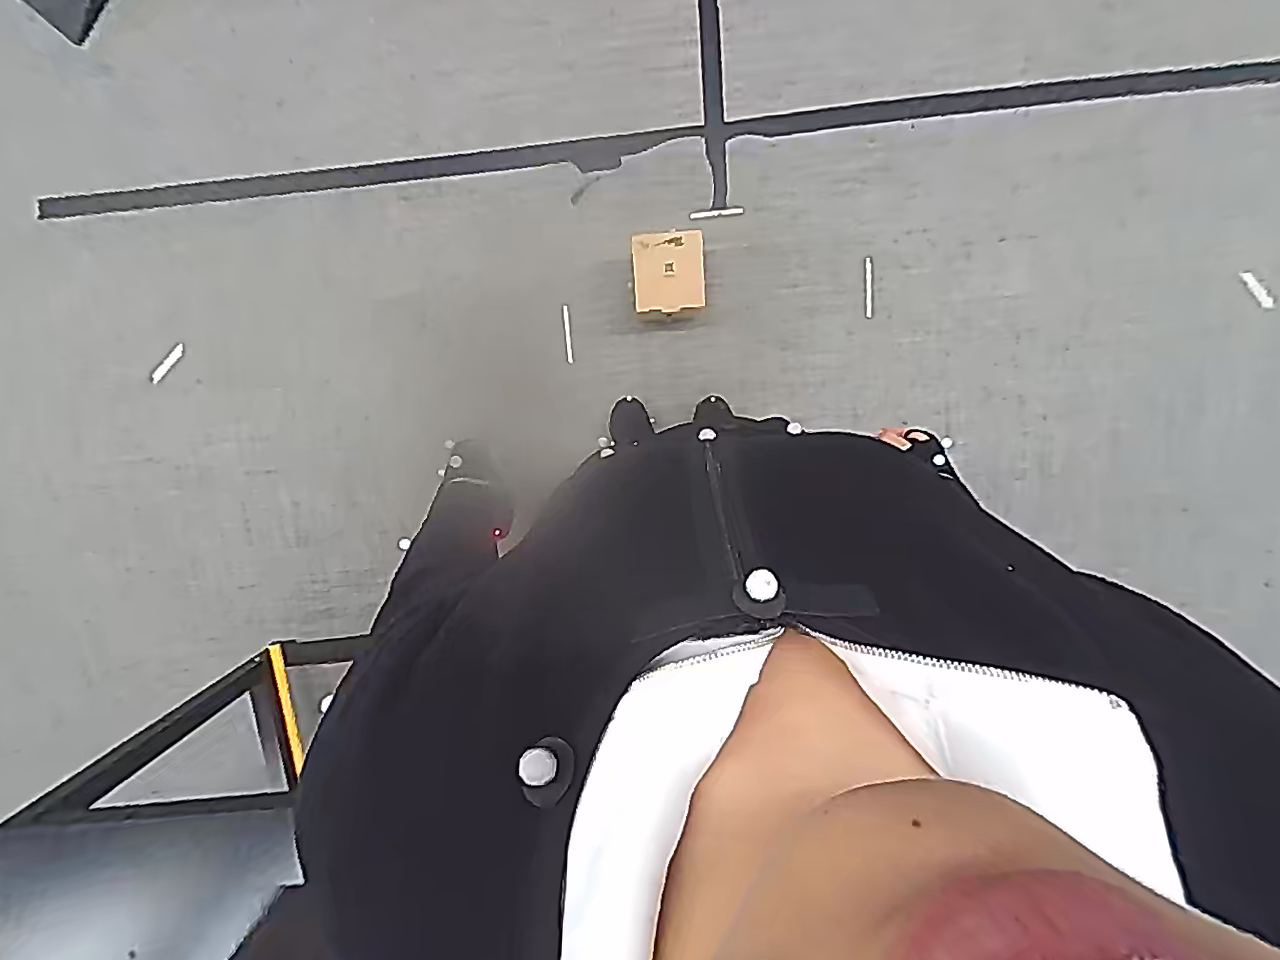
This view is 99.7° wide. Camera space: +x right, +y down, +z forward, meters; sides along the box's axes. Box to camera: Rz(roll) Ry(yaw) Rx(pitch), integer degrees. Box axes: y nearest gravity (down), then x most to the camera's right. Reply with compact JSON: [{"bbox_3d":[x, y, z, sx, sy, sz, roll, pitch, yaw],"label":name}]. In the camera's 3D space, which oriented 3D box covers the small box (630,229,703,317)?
[{"bbox_3d":[0.065,-0.499,1.330,0.168,0.176,0.179,-3,100,1],"label":"small box"}]
